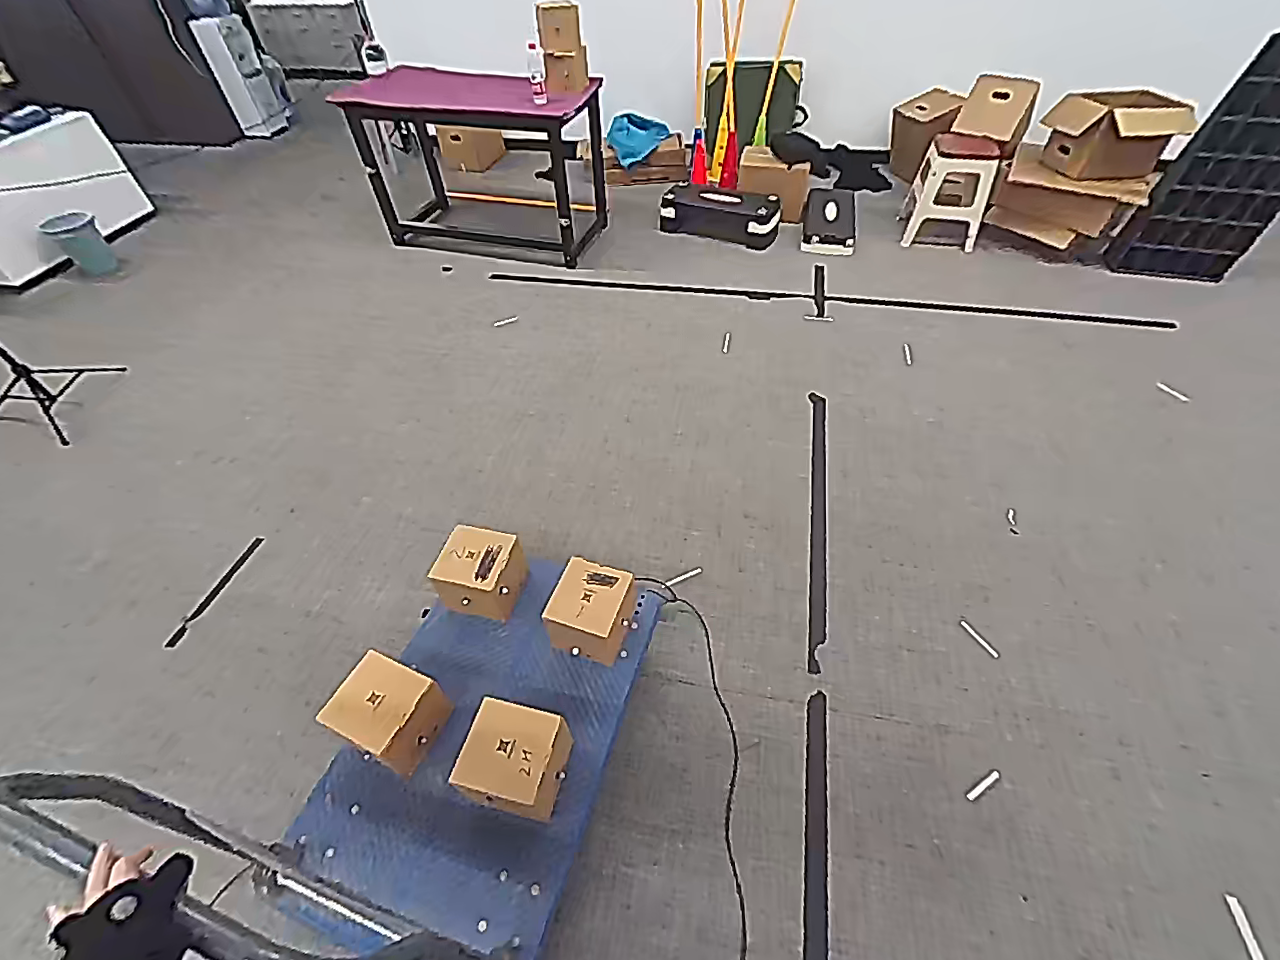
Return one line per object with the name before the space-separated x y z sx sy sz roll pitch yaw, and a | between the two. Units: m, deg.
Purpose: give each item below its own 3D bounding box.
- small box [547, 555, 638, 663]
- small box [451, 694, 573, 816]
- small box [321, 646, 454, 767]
small box | -0.110 0.318 1.330 0.168 0.176 0.179 15 52 15
small box | -0.252 0.571 1.116 0.179 0.176 0.168 10 50 11
small box | -0.544 0.502 1.188 0.179 0.176 0.168 19 52 16
